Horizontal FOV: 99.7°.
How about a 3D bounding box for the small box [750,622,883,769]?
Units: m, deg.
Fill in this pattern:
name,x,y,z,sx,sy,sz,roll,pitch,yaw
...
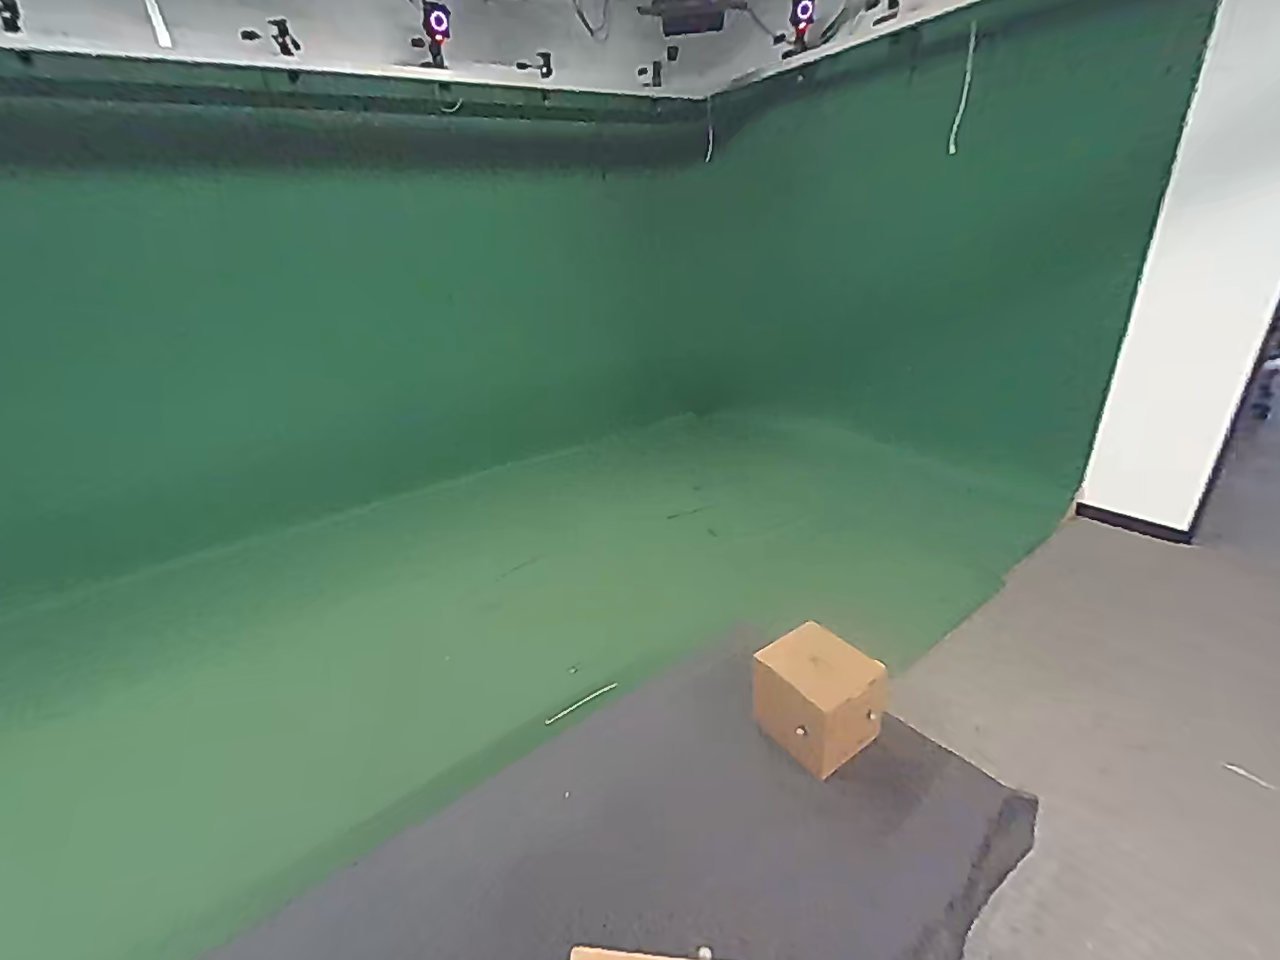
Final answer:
name,x,y,z,sx,sy,sz,roll,pitch,yaw
small box,0.327,0.408,1.022,0.168,0.176,0.179,-18,26,-29
